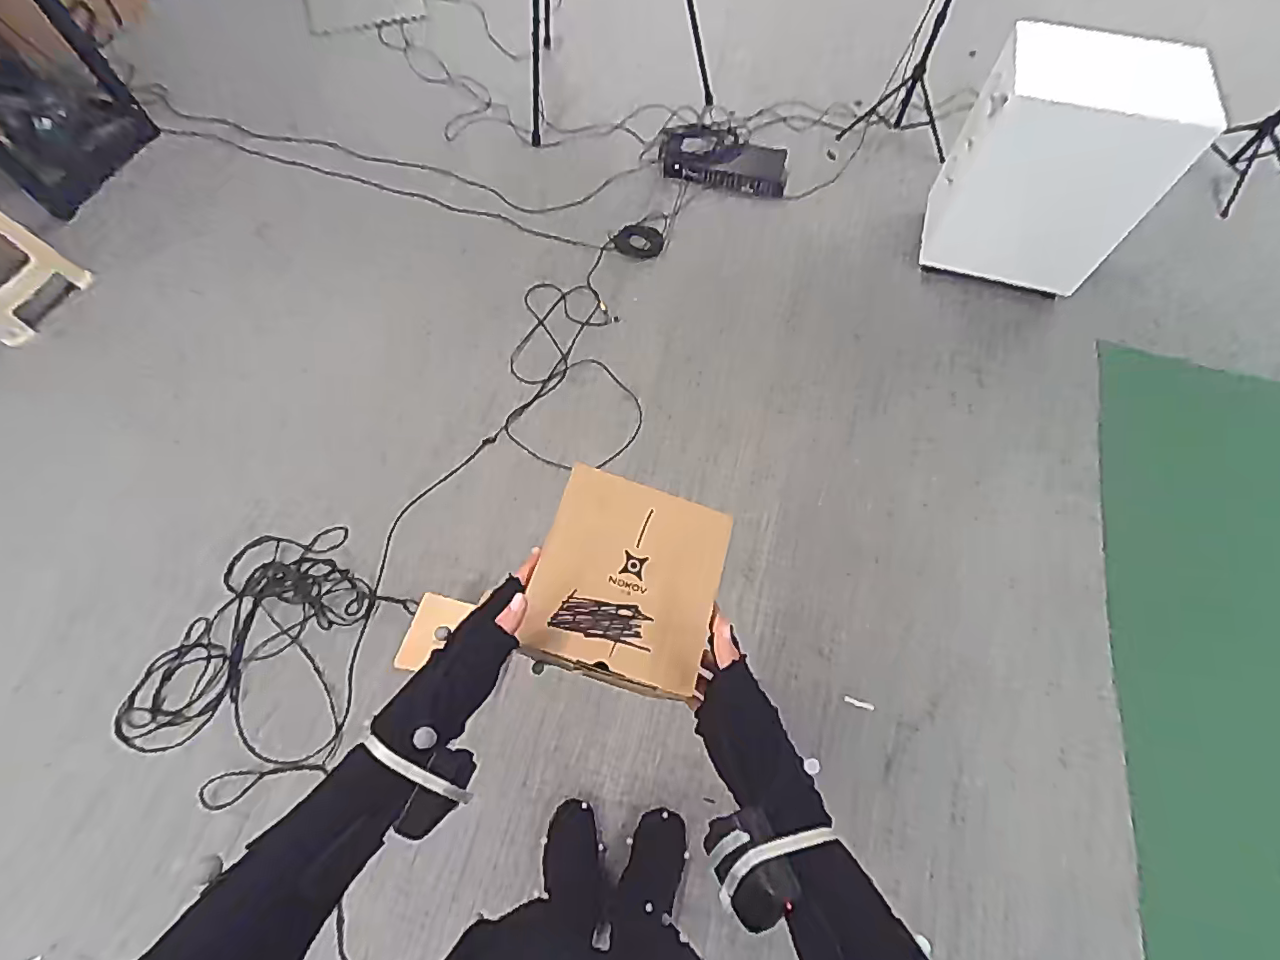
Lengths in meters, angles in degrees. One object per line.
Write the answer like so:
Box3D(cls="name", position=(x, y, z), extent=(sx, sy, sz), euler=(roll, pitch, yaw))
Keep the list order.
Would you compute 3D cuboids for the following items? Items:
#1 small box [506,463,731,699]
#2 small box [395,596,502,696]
Box3D(cls="small box", position=(-0.026, 0.113, 0.560), extent=(0.168, 0.176, 0.179), euler=(19, 67, -4))
Box3D(cls="small box", position=(-0.446, 0.402, 1.297), extent=(0.168, 0.176, 0.179), euler=(13, 64, 7))
